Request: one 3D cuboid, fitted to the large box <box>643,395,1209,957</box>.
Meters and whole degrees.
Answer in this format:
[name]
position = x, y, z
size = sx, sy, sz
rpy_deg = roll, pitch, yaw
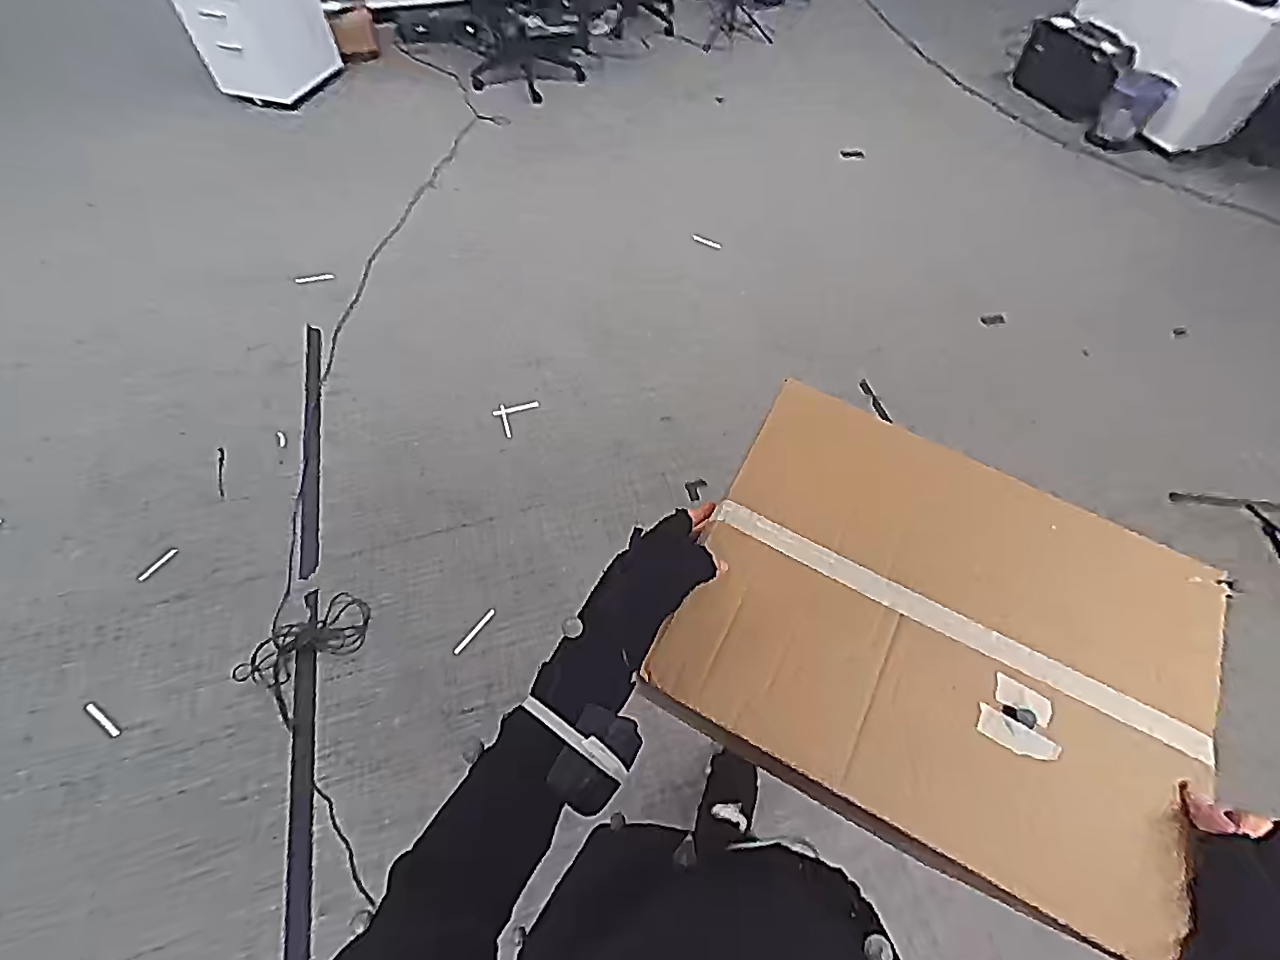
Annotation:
[large box]
position = 0.250, 0.178, 0.589
size = 0.408, 0.320, 0.320
rpy_deg = 27, 70, 9
